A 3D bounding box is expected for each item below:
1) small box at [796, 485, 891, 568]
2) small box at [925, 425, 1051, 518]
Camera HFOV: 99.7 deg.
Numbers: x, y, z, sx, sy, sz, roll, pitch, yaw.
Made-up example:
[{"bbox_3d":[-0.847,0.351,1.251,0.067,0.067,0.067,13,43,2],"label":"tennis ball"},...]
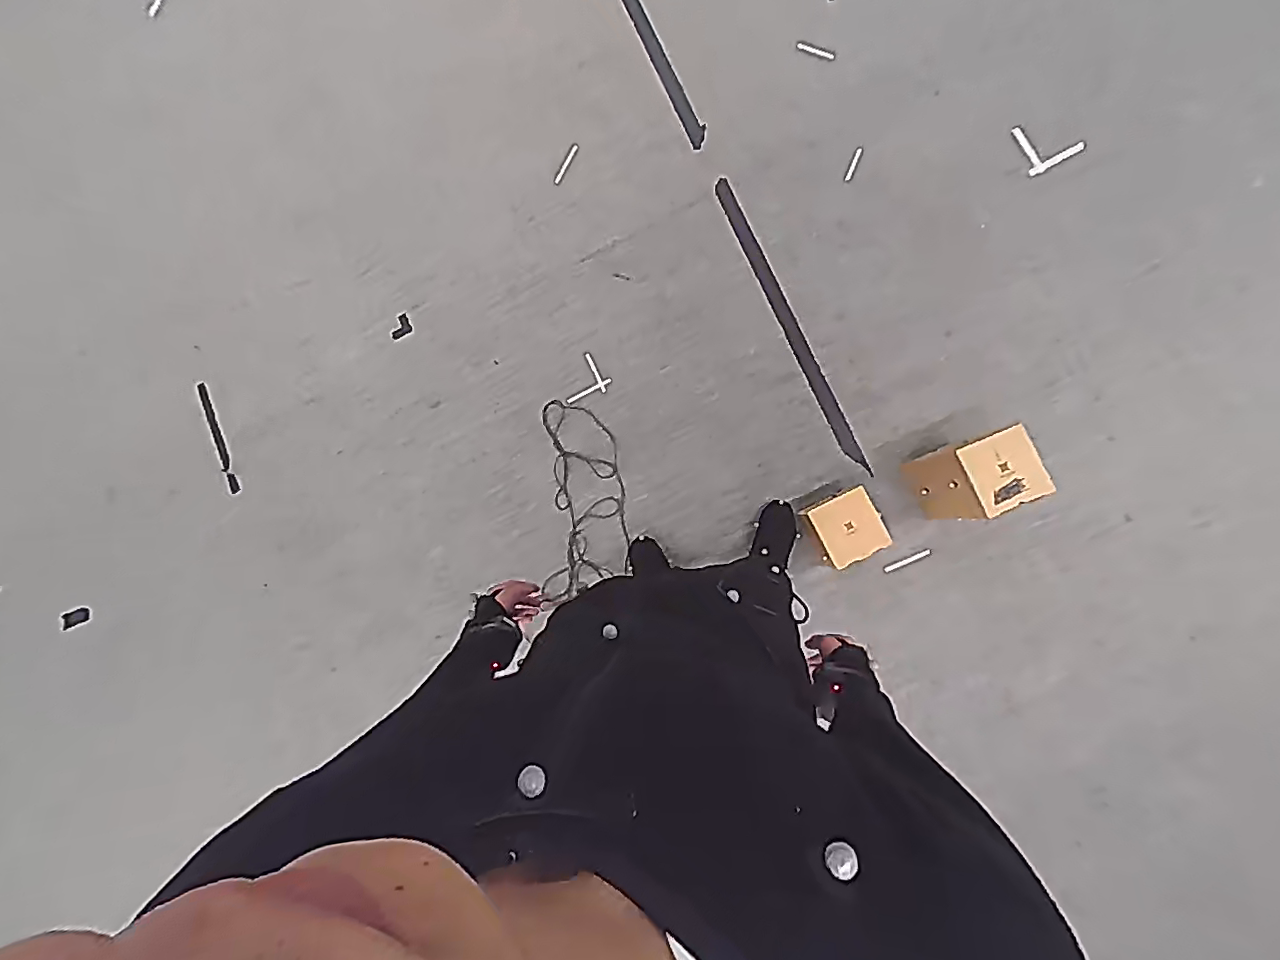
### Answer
[{"bbox_3d":[0.560,0.131,1.517,0.168,0.176,0.179,-27,84,3],"label":"small box"},{"bbox_3d":[0.846,-0.016,1.333,0.168,0.176,0.179,-23,83,3],"label":"small box"}]
